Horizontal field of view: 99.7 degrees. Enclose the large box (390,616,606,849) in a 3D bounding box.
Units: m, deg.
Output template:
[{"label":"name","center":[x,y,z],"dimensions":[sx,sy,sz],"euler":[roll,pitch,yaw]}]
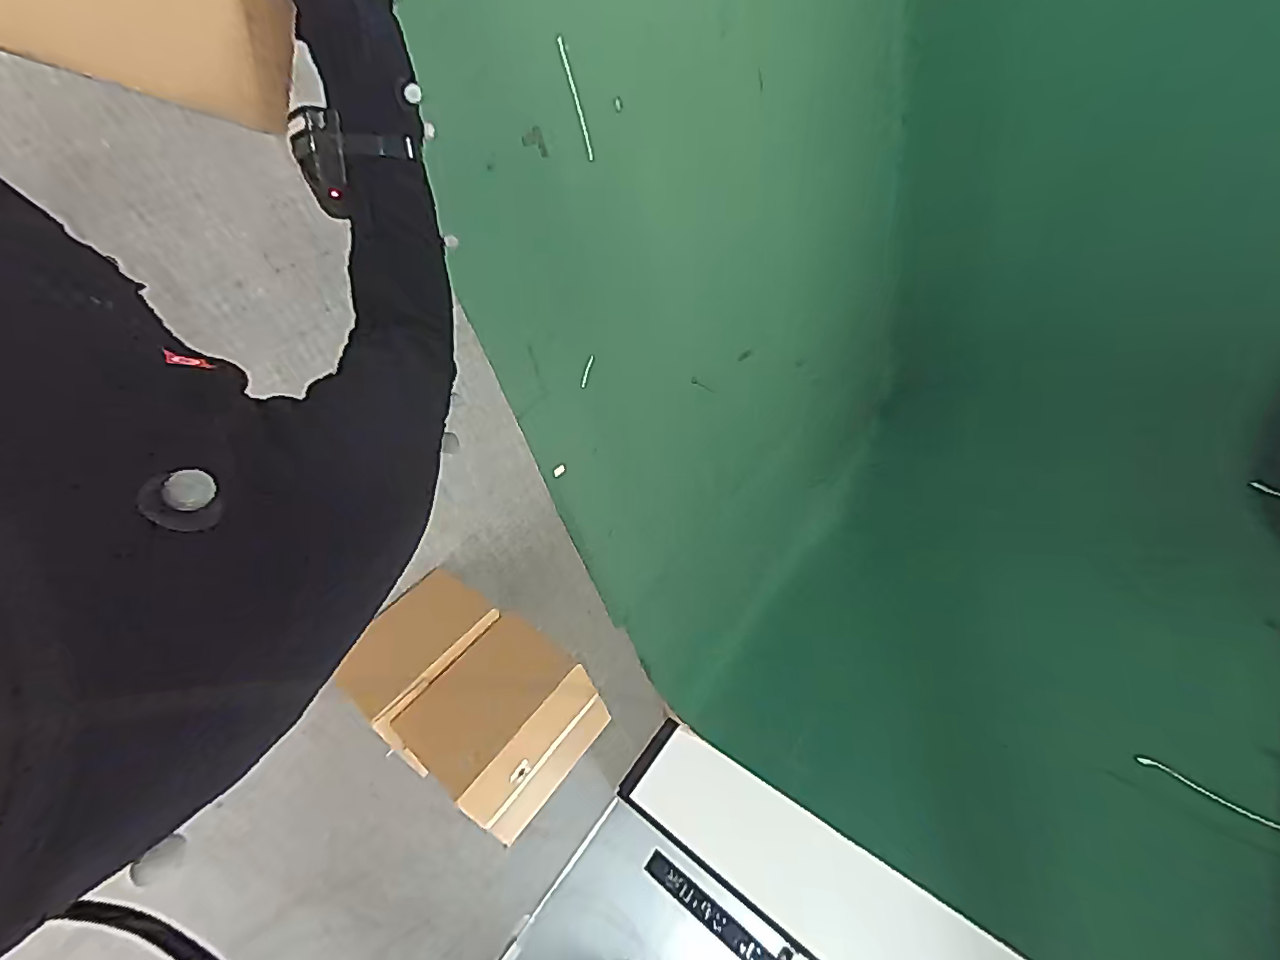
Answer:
[{"label":"large box","center":[-0.360,0.652,1.441],"dimensions":[0.408,0.320,0.320],"euler":[-43,137,-30]}]
